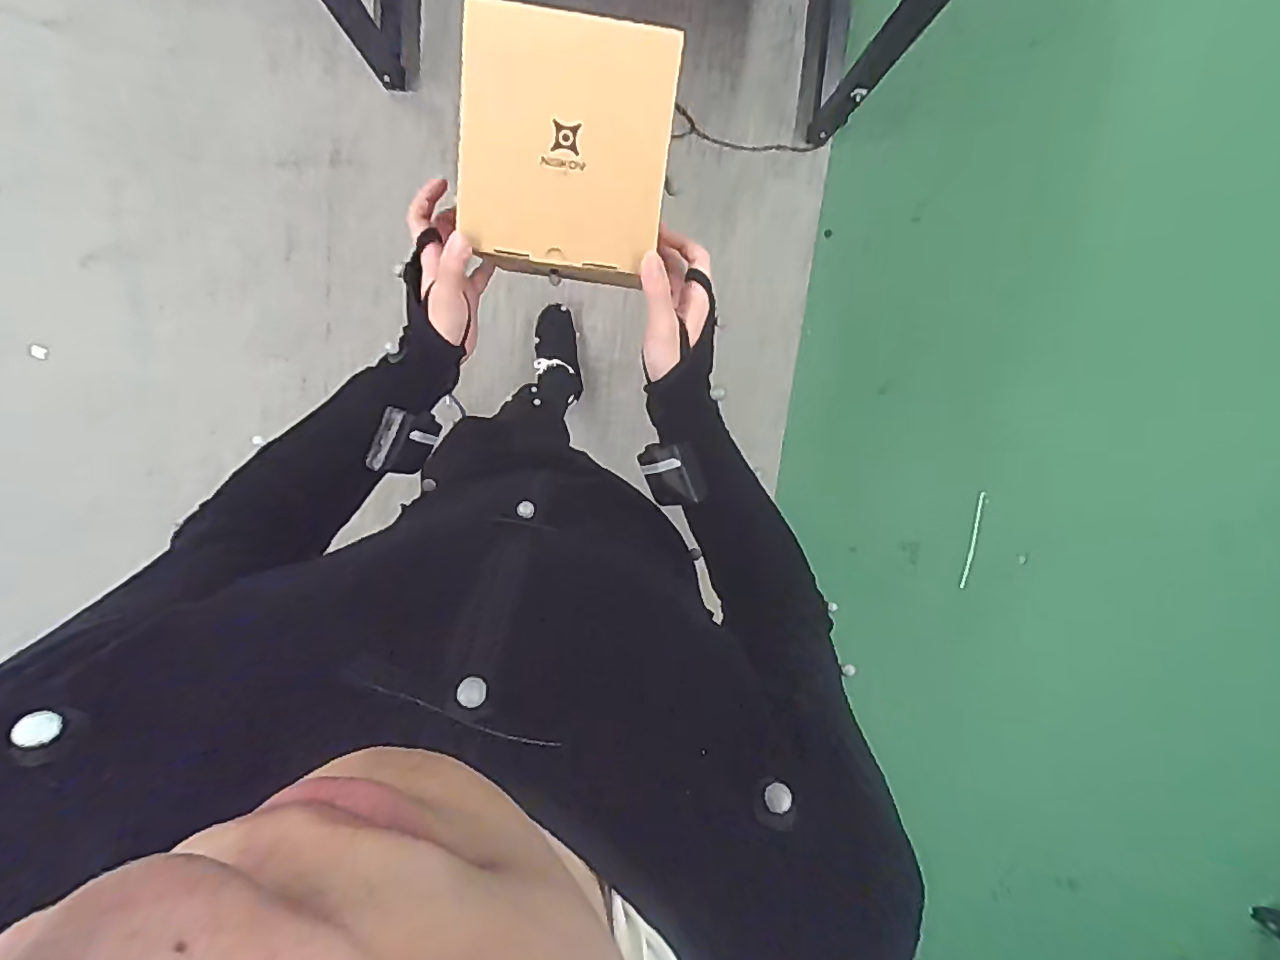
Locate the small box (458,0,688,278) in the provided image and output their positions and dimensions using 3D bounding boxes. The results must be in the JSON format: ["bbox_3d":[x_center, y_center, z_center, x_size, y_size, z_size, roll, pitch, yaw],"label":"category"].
[{"bbox_3d":[-0.059,-0.293,0.495,0.168,0.176,0.179,7,107,-4],"label":"small box"}]
